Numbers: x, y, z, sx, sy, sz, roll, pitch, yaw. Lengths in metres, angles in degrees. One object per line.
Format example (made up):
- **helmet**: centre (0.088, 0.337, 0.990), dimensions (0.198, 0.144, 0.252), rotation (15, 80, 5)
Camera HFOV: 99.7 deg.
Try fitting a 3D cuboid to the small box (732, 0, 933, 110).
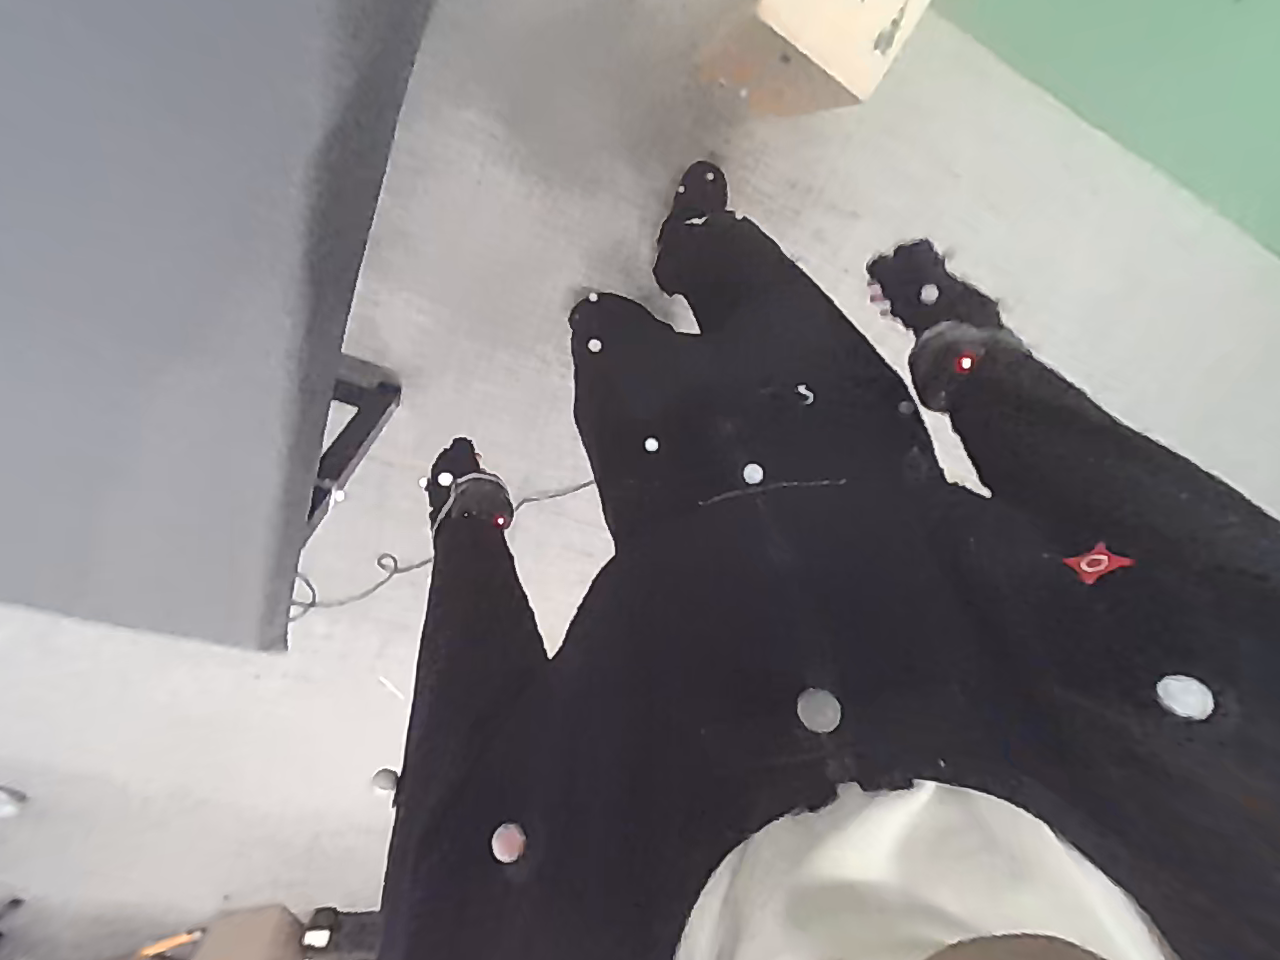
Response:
- **small box**: centre (0.238, -0.597, 0.678), dimensions (0.179, 0.176, 0.168), rotation (25, 116, -17)
